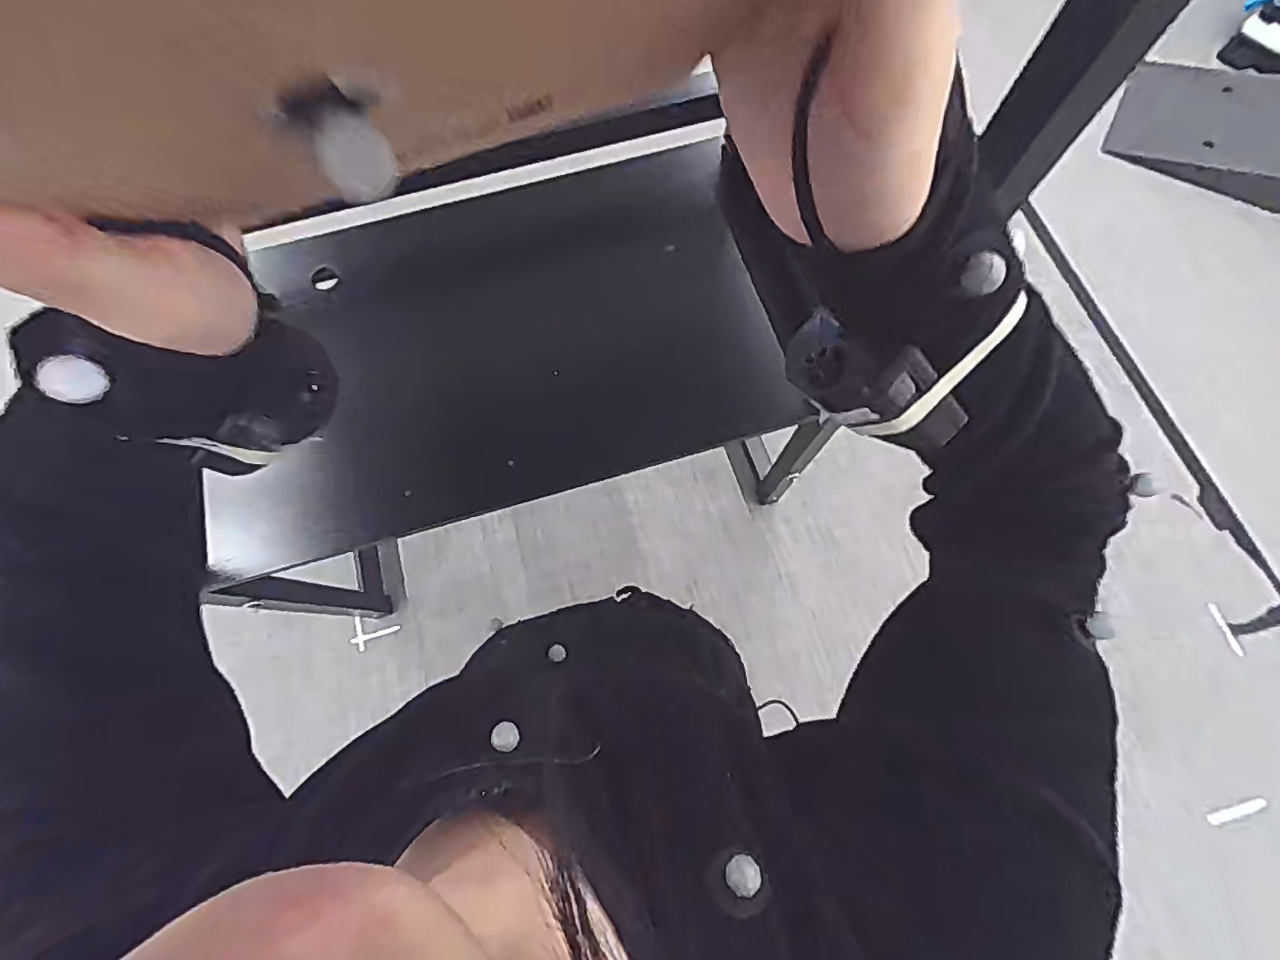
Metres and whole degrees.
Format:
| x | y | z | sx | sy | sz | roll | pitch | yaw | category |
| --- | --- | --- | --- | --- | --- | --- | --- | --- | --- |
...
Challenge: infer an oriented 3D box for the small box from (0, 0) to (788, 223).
| x | y | z | sx | sy | sz | roll | pitch | yaw | category |
| --- | --- | --- | --- | --- | --- | --- | --- | --- | --- |
| -0.061 | -0.151 | 0.081 | 0.168 | 0.176 | 0.179 | -20 | 115 | -3 | small box |
